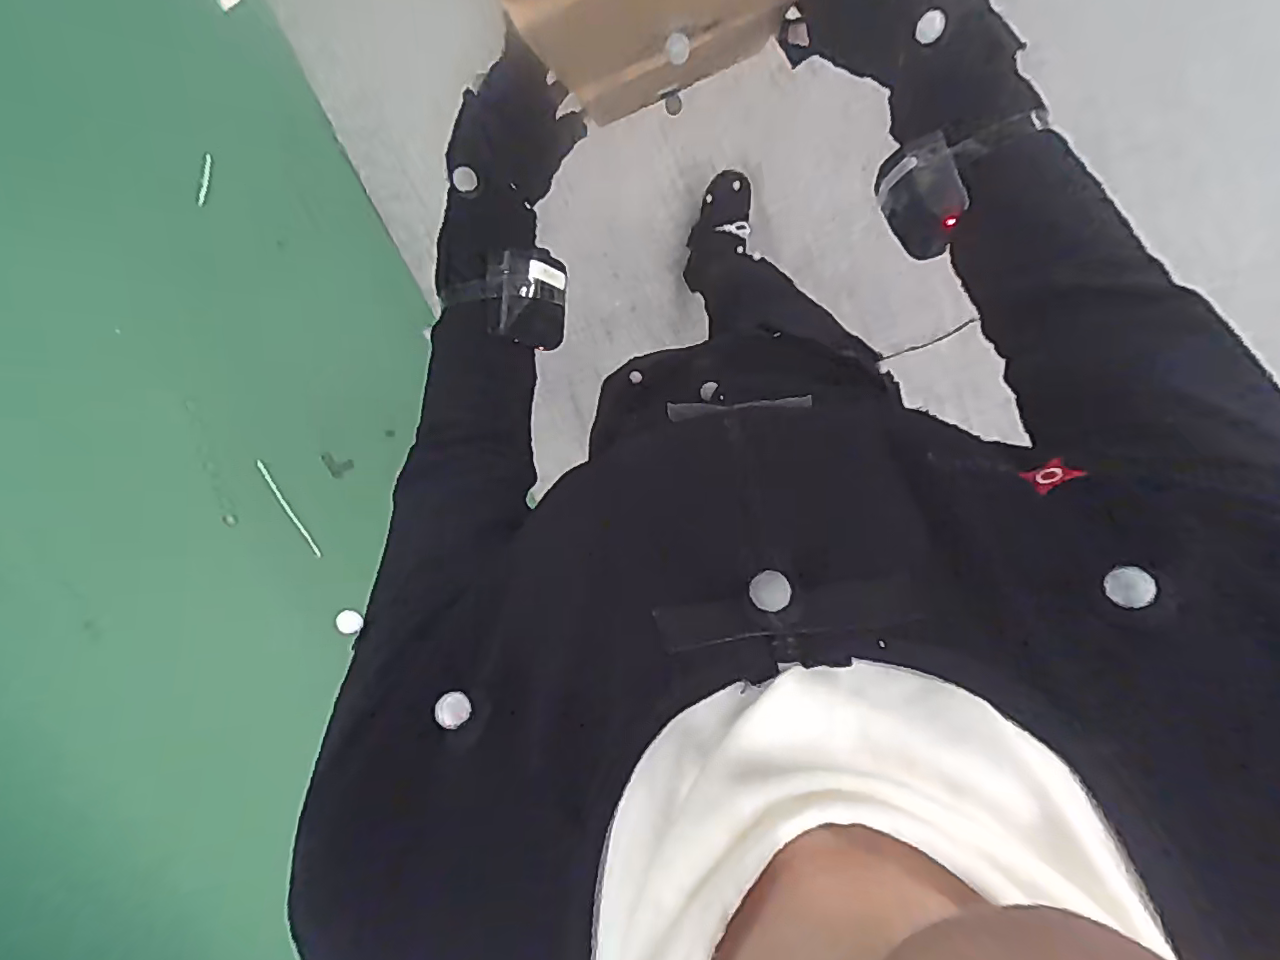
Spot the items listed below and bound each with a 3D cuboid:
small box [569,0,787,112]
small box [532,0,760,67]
[{"bbox_3d":[0.005,-0.419,0.412,0.168,0.176,0.179,-18,116,12],"label":"small box"},{"bbox_3d":[-0.002,-0.347,0.264,0.168,0.176,0.179,-15,116,11],"label":"small box"}]
